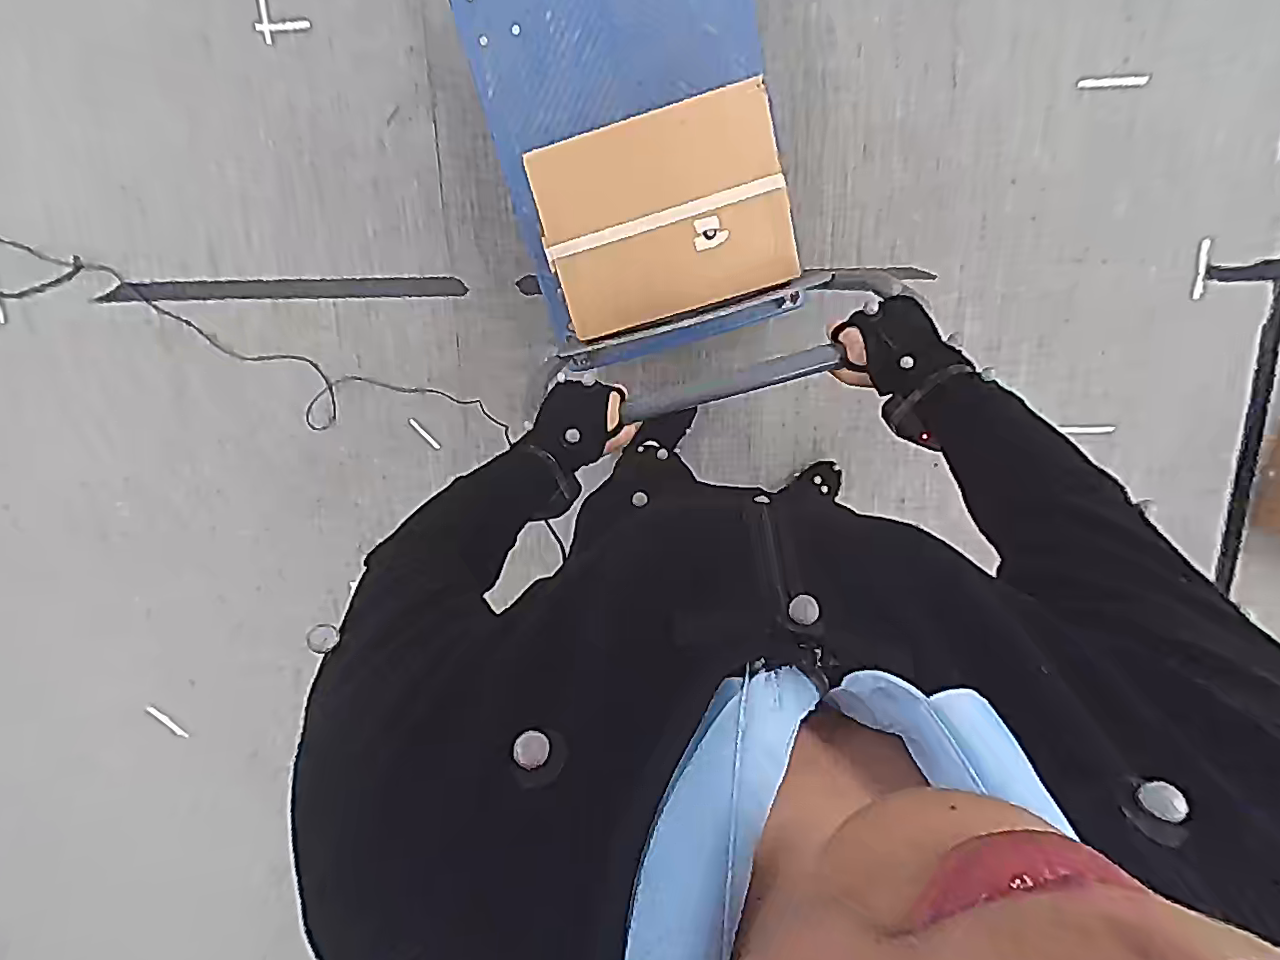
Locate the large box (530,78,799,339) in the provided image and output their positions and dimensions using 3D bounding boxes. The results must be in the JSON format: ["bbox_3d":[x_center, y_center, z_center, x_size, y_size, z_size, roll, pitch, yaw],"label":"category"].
[{"bbox_3d":[0.047,-0.490,1.066,0.408,0.320,0.320,-16,106,5],"label":"large box"}]
